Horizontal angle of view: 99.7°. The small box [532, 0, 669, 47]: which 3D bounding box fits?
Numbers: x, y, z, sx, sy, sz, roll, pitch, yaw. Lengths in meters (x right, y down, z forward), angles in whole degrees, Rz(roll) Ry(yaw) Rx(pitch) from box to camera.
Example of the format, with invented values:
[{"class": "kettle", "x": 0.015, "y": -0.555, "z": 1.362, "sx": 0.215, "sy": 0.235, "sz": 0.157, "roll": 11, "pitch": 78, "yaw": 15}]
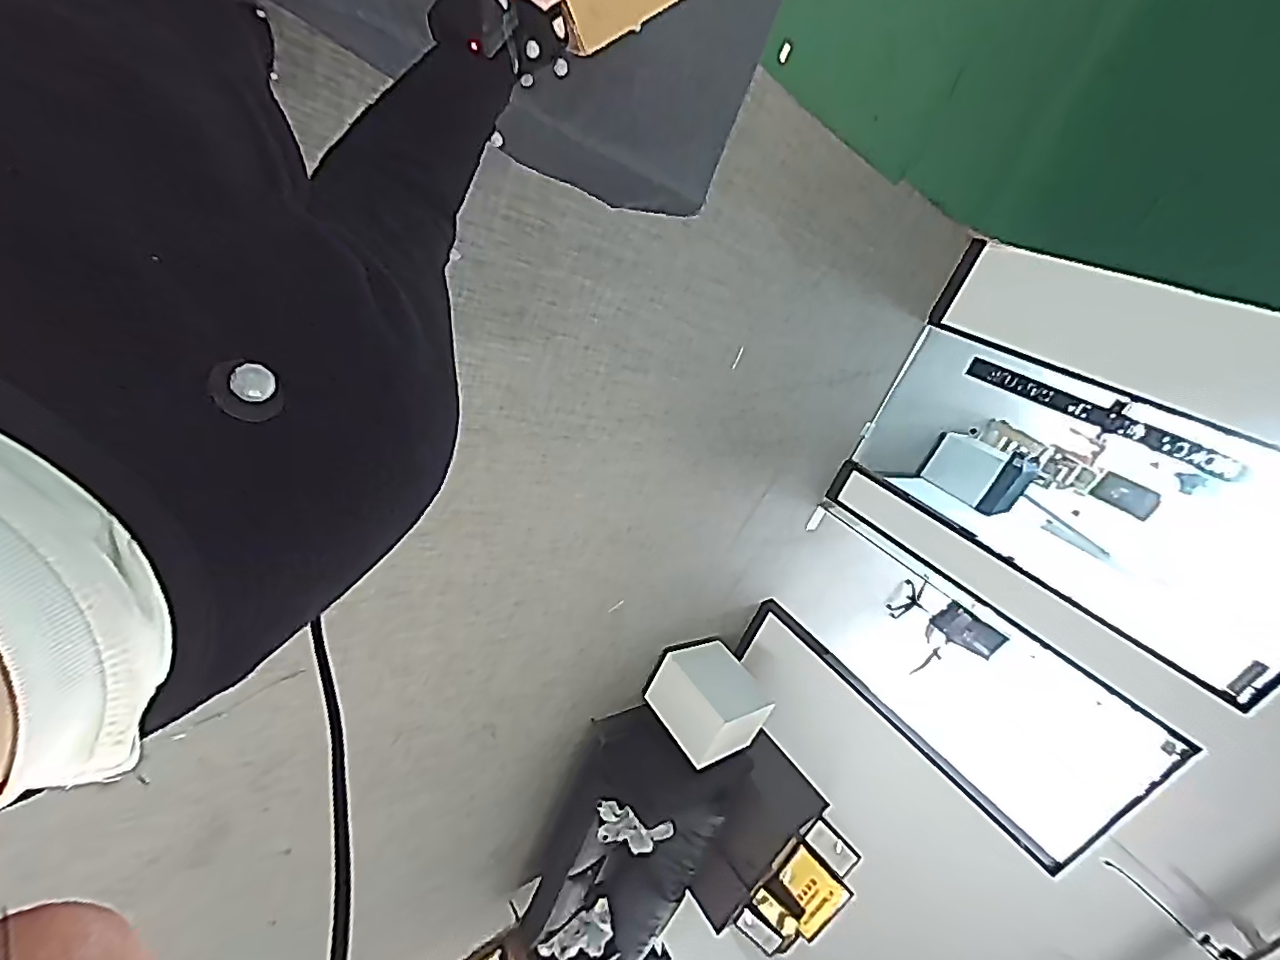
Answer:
[{"class": "small box", "x": -0.046, "y": -0.609, "z": 0.580, "sx": 0.179, "sy": 0.176, "sz": 0.168, "roll": -32, "pitch": 141, "yaw": 0}]
